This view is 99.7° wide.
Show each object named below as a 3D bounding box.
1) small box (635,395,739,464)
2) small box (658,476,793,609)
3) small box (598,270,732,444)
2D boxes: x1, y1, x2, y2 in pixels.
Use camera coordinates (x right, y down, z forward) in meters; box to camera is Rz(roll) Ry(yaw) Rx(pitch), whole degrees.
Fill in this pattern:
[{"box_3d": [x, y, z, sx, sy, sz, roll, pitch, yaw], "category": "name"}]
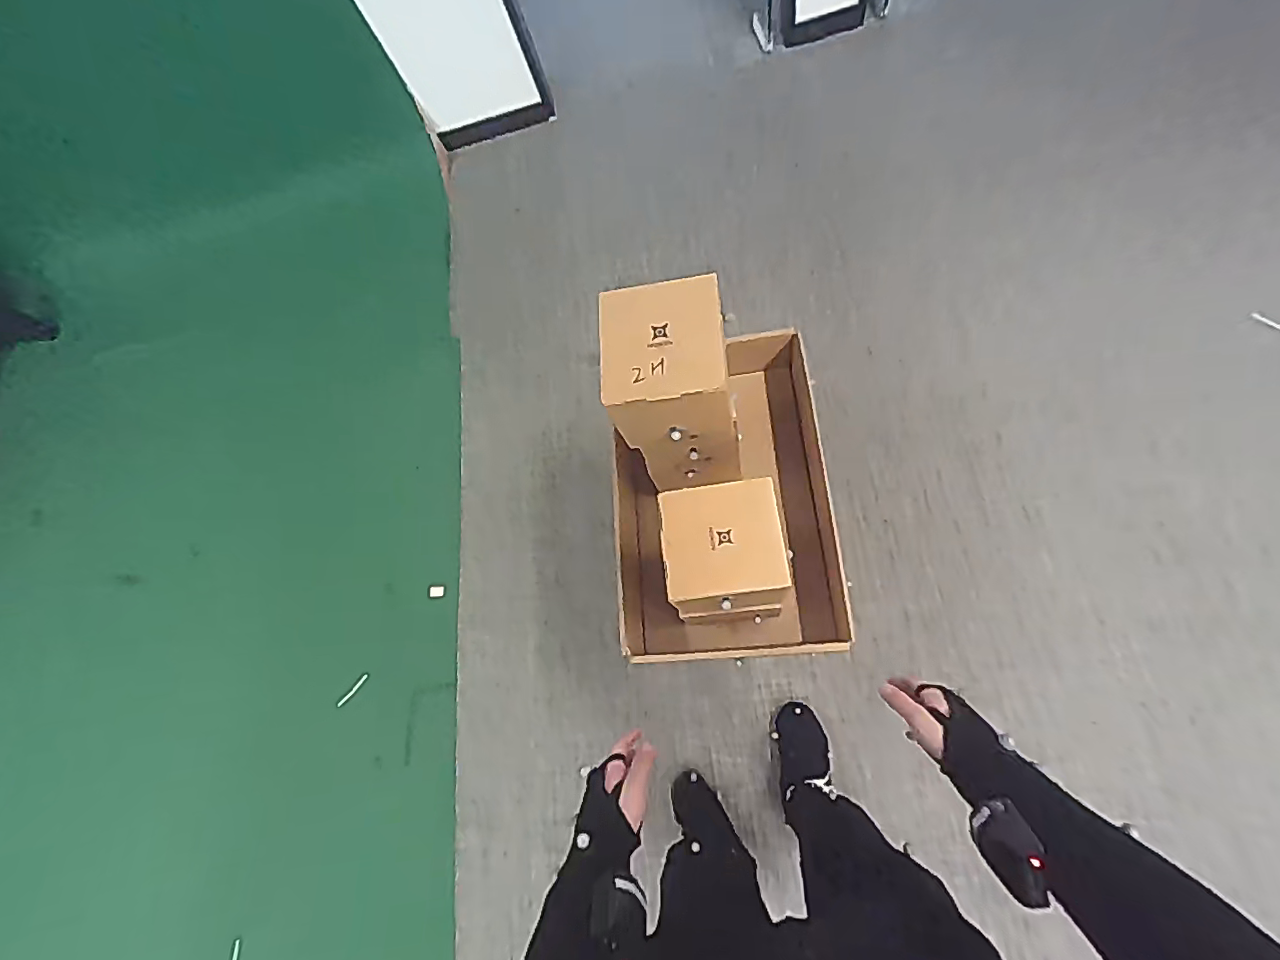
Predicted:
[{"box_3d": [0.073, -0.137, 0.940, 0.168, 0.176, 0.179, -13, 72, 8], "category": "small box"}, {"box_3d": [0.134, 0.106, 0.851, 0.179, 0.176, 0.168, -9, 70, 10], "category": "small box"}, {"box_3d": [0.041, -0.167, 0.780, 0.168, 0.176, 0.179, -6, 73, 12], "category": "small box"}]
